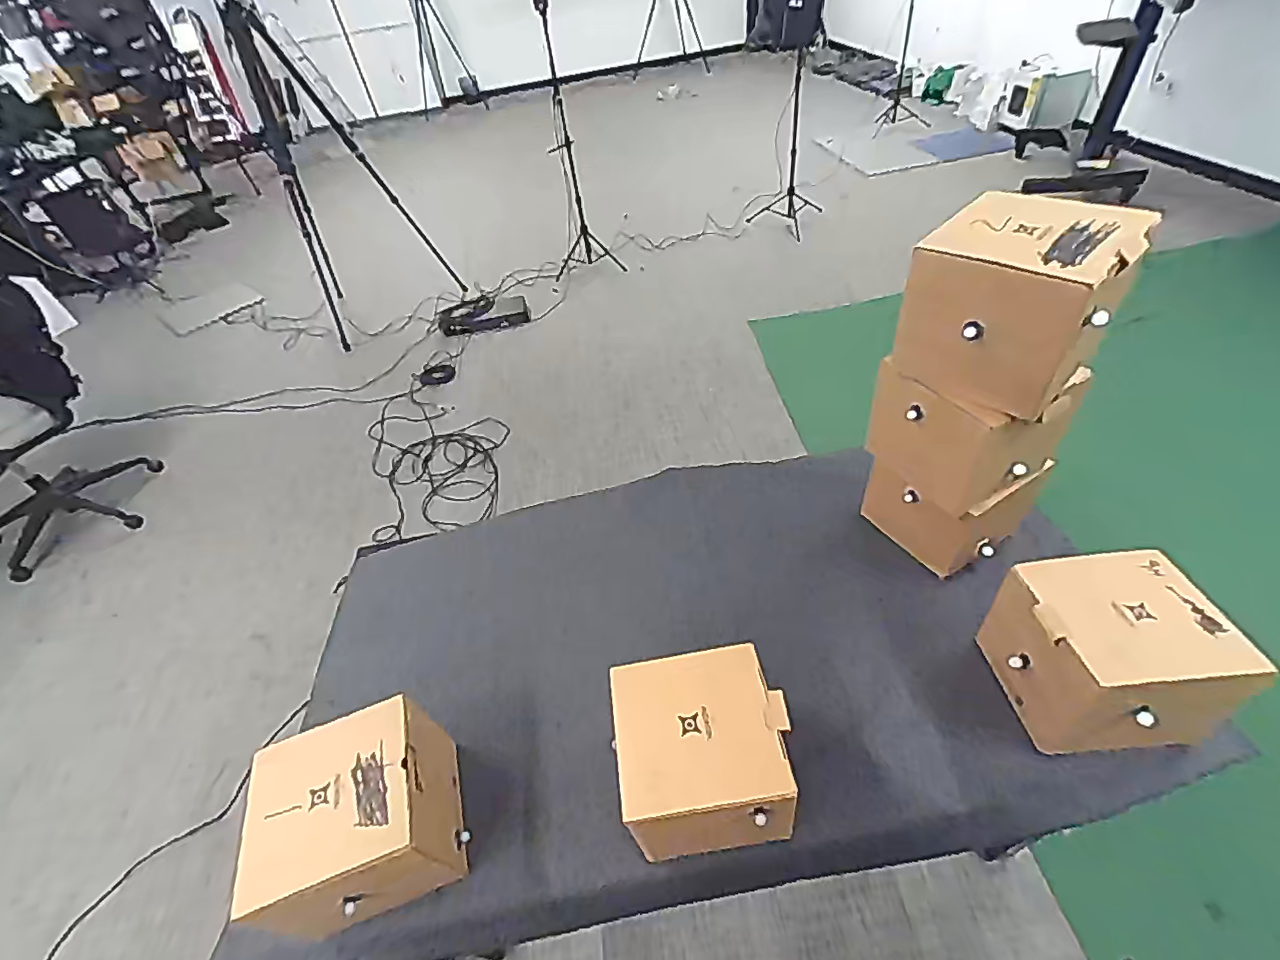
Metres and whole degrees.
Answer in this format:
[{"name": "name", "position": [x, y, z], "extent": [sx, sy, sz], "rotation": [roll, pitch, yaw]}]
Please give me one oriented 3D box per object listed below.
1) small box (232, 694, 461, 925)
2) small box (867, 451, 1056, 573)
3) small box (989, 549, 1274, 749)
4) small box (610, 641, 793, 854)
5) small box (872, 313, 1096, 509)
[{"name": "small box", "position": [-0.323, 0.387, 0.635], "extent": [0.179, 0.176, 0.168], "rotation": [-19, 47, -8]}, {"name": "small box", "position": [0.489, 0.013, 0.857], "extent": [0.168, 0.176, 0.179], "rotation": [-29, 50, -14]}, {"name": "small box", "position": [0.555, 0.207, 0.652], "extent": [0.179, 0.176, 0.168], "rotation": [-7, 42, 4]}, {"name": "small box", "position": [0.069, 0.318, 0.638], "extent": [0.179, 0.176, 0.168], "rotation": [-10, 44, 0]}, {"name": "small box", "position": [0.445, -0.093, 0.737], "extent": [0.168, 0.176, 0.179], "rotation": [-26, 48, -10]}]
